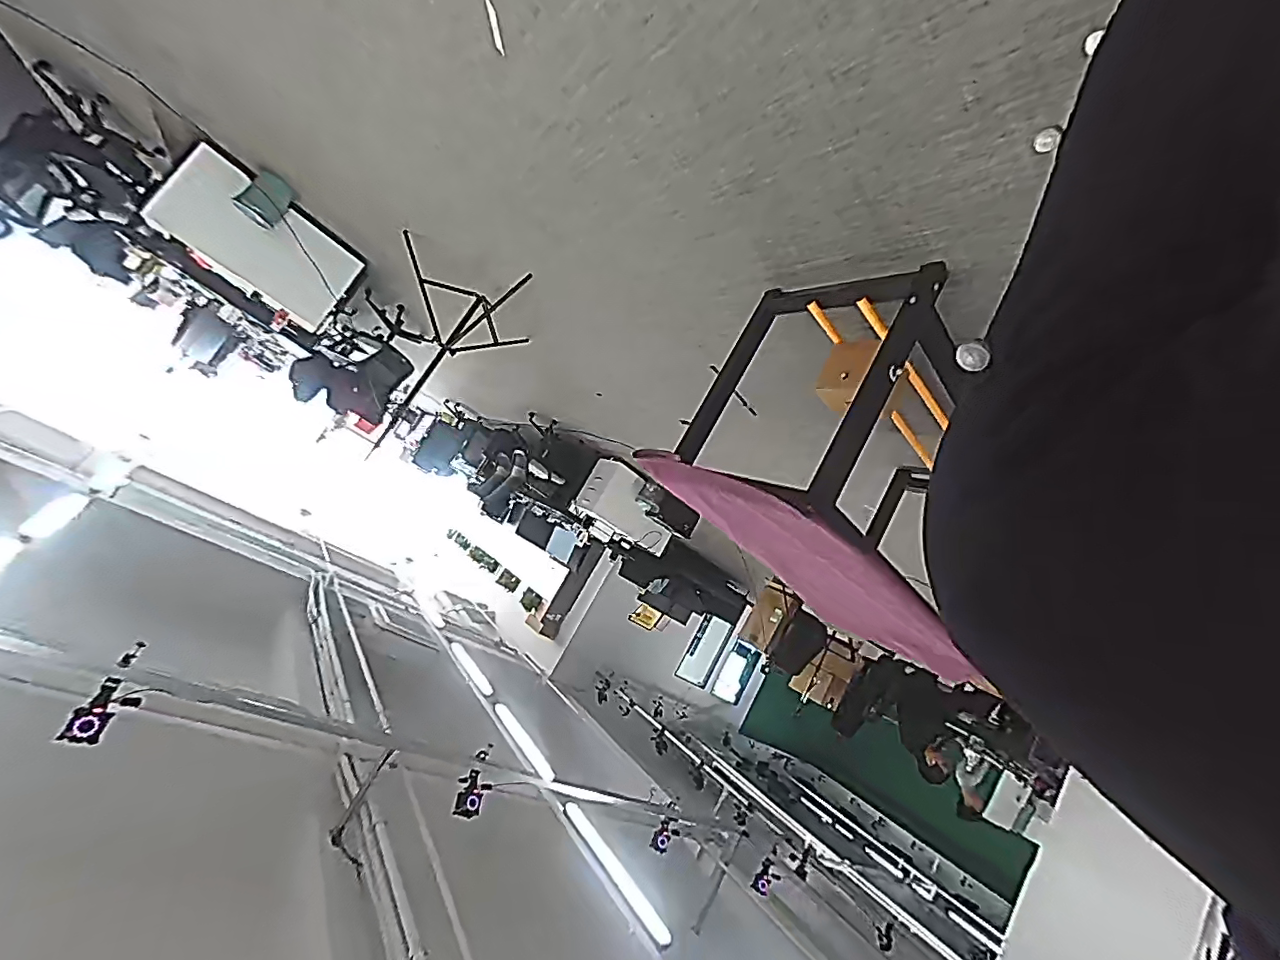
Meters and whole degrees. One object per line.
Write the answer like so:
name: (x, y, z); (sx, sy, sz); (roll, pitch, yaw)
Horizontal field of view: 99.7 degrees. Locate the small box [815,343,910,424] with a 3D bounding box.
small box: (0.656, -0.284, 1.590); (0.168, 0.176, 0.179); (36, 166, -34)
